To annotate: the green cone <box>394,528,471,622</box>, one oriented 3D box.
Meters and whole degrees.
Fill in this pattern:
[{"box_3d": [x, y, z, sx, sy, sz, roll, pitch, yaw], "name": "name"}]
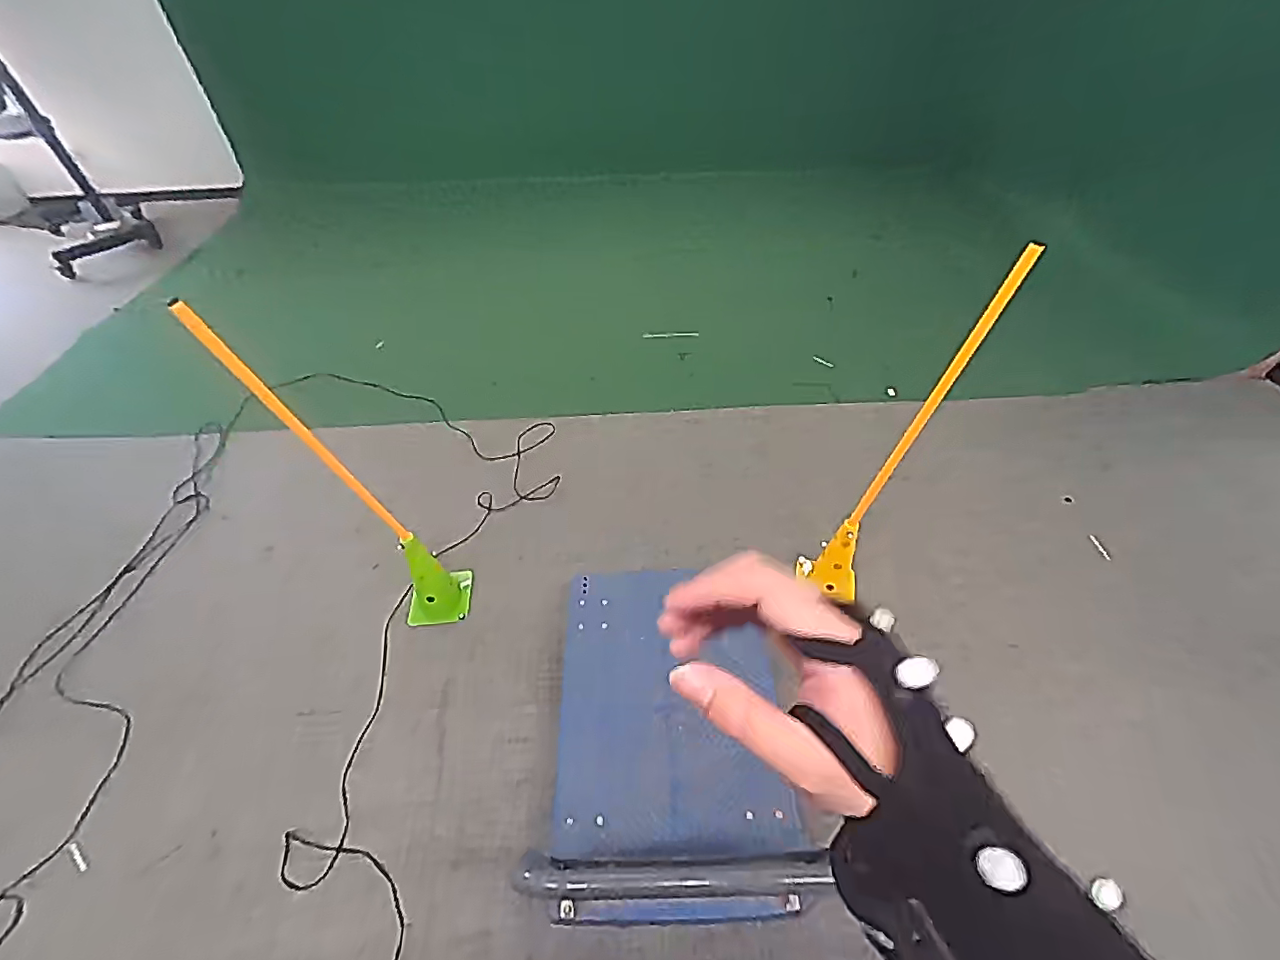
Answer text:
[{"box_3d": [-0.701, 0.277, 1.746, 0.202, 0.368, 0.200, -7, 47, -2], "name": "green cone"}]
